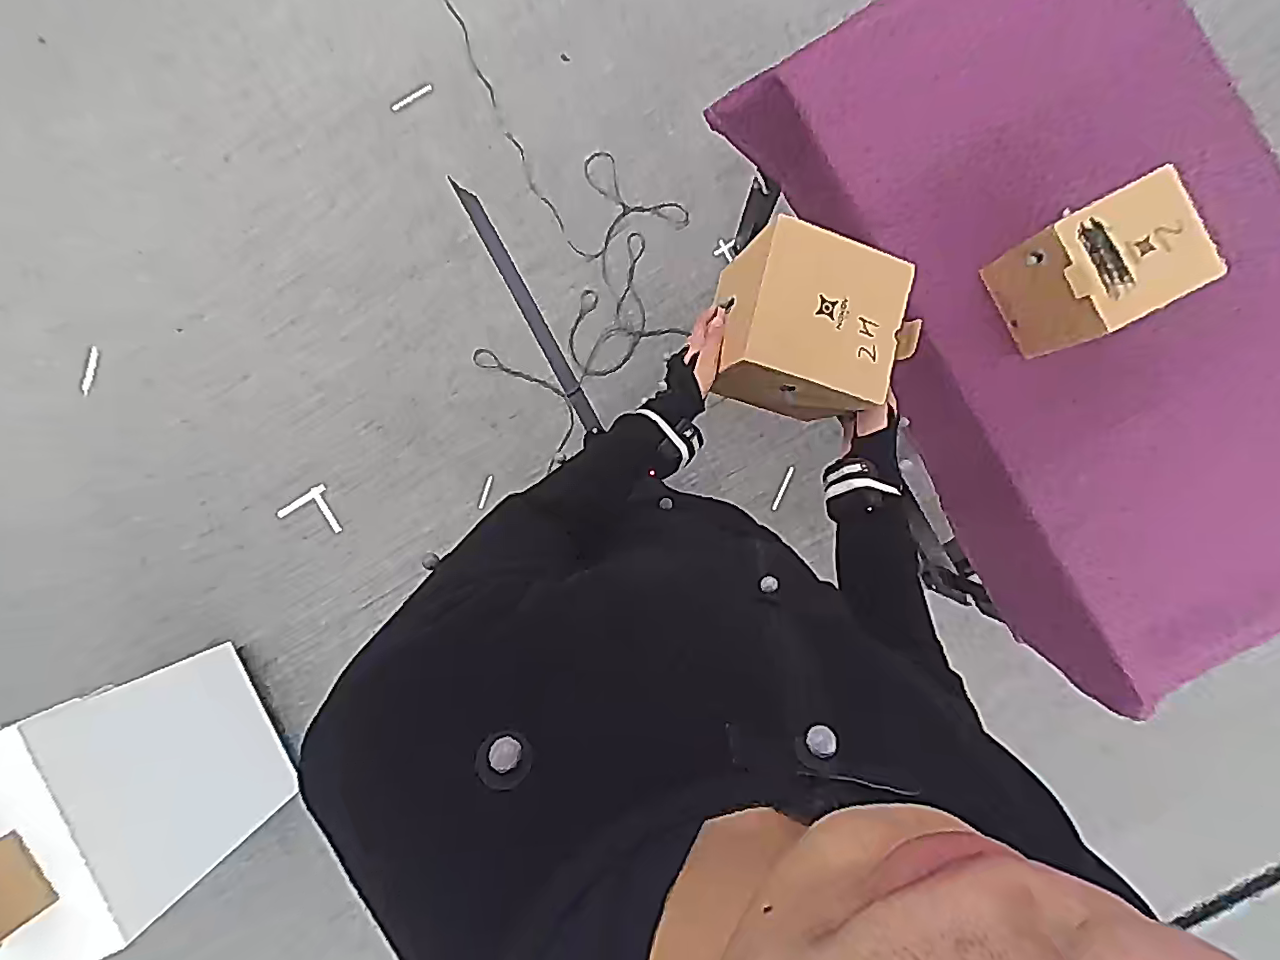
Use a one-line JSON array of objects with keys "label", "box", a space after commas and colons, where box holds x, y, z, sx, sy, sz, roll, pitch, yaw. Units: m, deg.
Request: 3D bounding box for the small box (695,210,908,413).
[{"label": "small box", "box": [0.183, -0.187, 0.662, 0.179, 0.176, 0.168, 15, 87, -12]}]

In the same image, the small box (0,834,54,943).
[{"label": "small box", "box": [-1.311, 0.839, 1.036, 0.168, 0.176, 0.179, -34, 89, 2]}]
